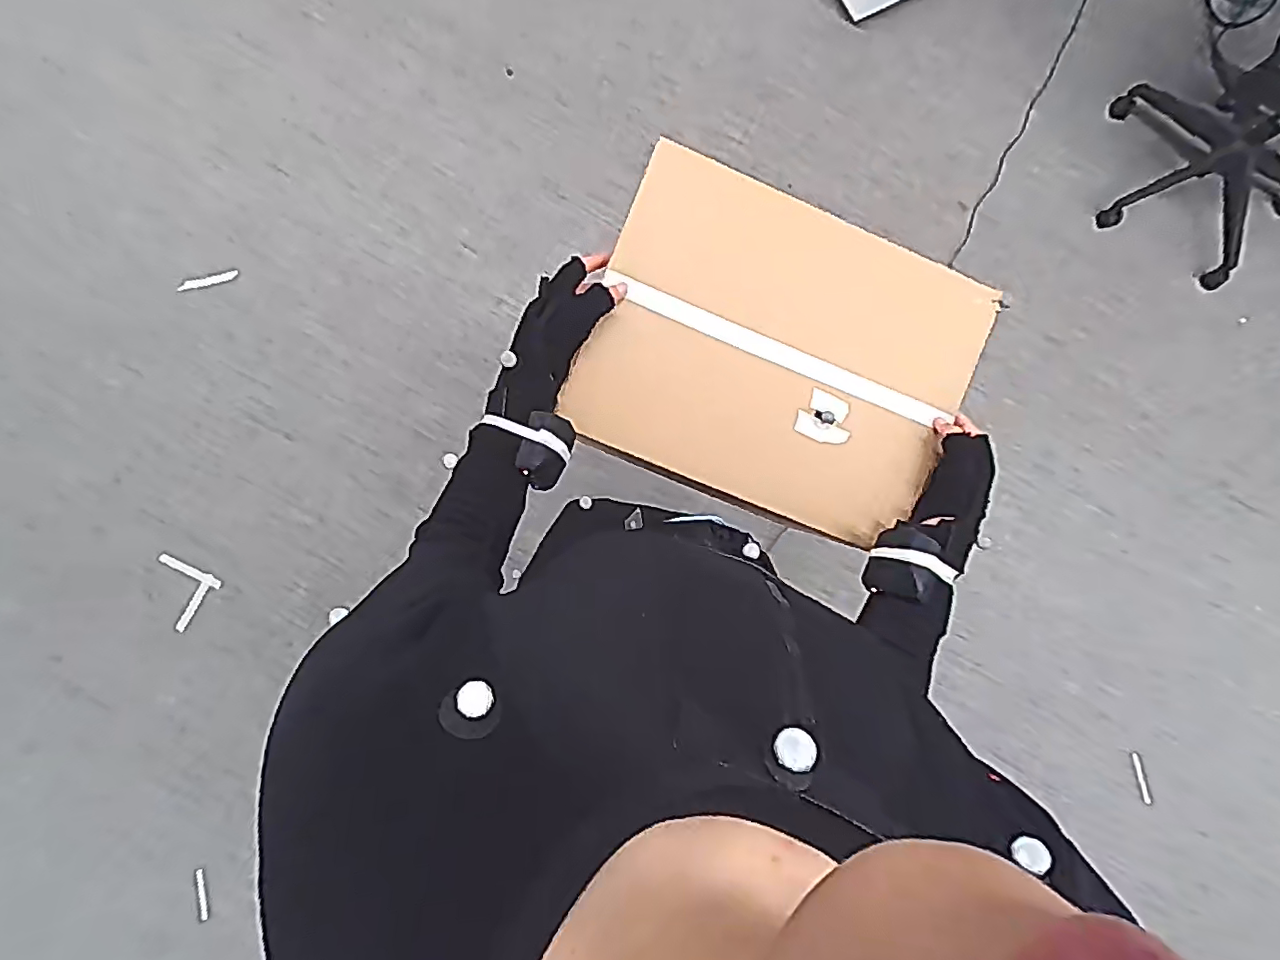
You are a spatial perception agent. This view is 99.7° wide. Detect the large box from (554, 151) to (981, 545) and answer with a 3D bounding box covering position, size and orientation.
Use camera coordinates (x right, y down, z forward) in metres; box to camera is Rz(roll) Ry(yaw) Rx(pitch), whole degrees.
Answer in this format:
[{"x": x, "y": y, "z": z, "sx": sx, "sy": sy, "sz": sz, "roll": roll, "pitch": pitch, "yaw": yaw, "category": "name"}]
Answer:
[{"x": 0.130, "y": -0.143, "z": 0.734, "sx": 0.408, "sy": 0.320, "sz": 0.320, "roll": 22, "pitch": 91, "yaw": -6, "category": "large box"}]
